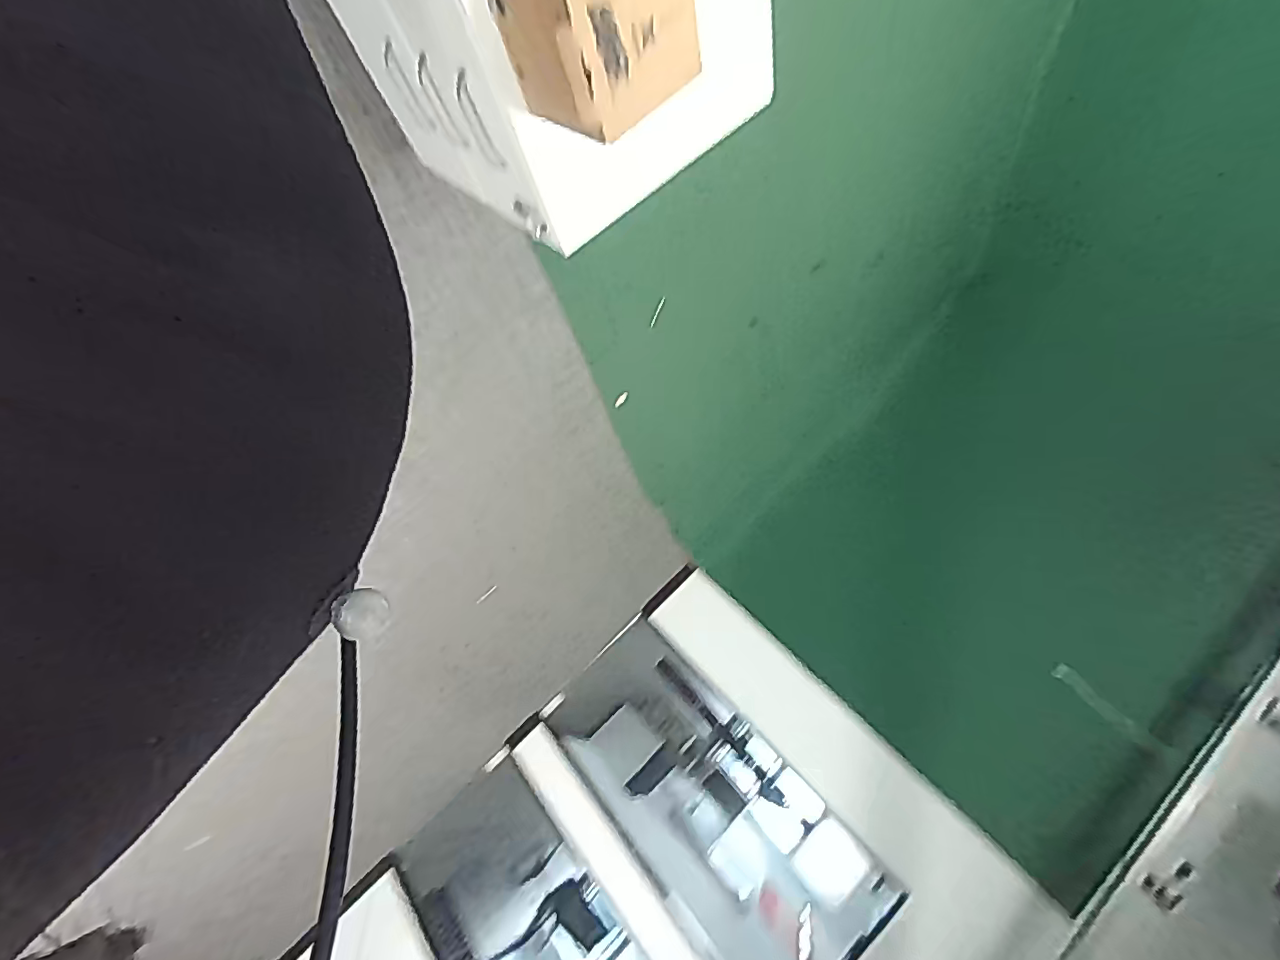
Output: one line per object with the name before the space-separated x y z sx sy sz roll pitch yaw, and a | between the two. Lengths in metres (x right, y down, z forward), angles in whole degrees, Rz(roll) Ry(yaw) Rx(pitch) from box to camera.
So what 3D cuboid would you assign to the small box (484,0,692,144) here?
small box | -0.065 -0.548 0.648 0.179 0.176 0.168 -44 150 -12
